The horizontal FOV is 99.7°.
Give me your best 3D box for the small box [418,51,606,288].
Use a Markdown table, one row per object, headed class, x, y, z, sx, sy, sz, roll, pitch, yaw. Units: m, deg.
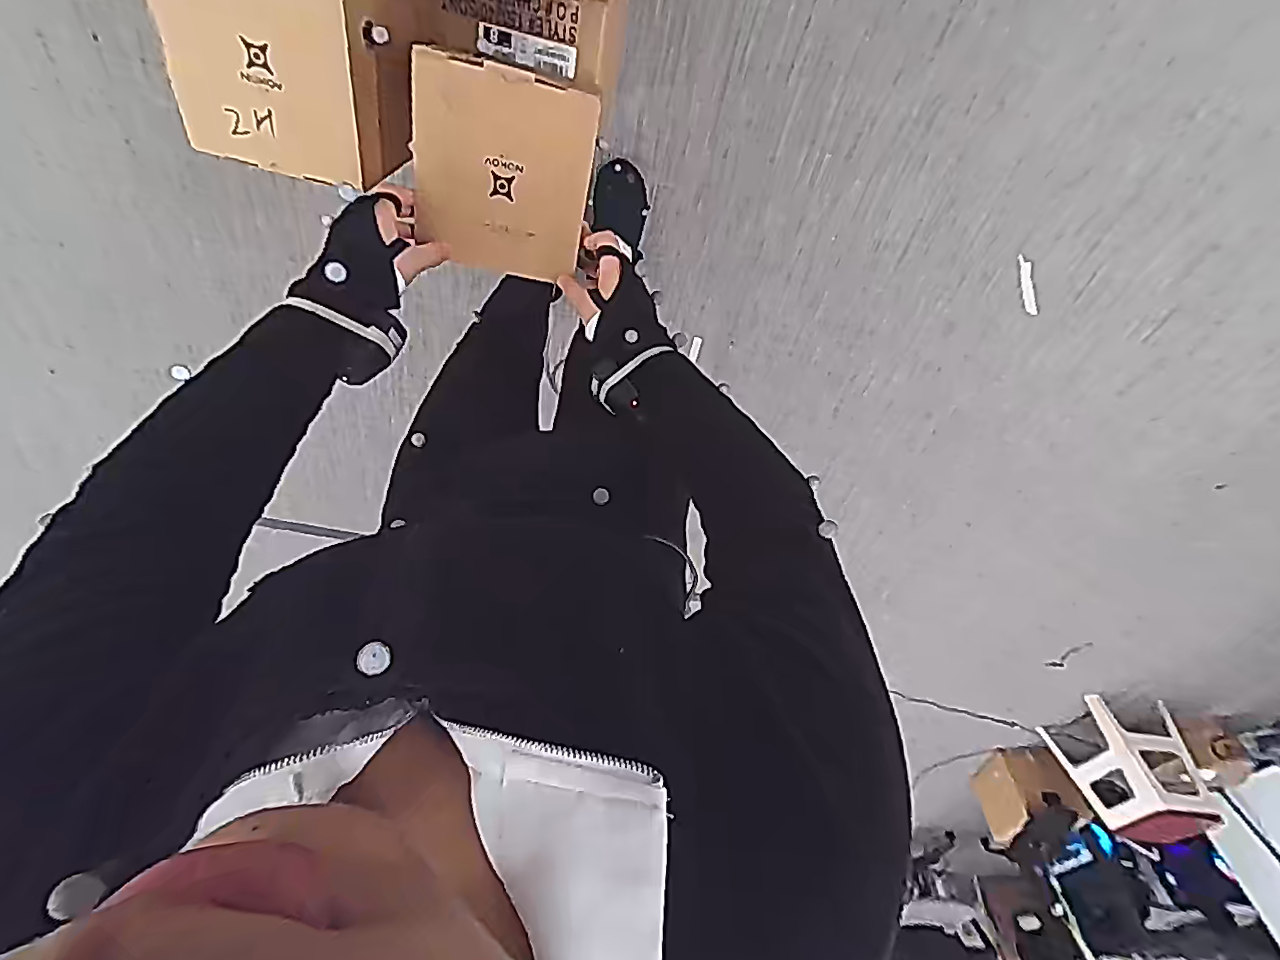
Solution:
| class | x | y | z | sx | sy | sz | roll | pitch | yaw |
| --- | --- | --- | --- | --- | --- | --- | --- | --- | --- |
| small box | -0.134 | -0.336 | 0.586 | 0.168 | 0.176 | 0.179 | 8 | 128 | -10 |
